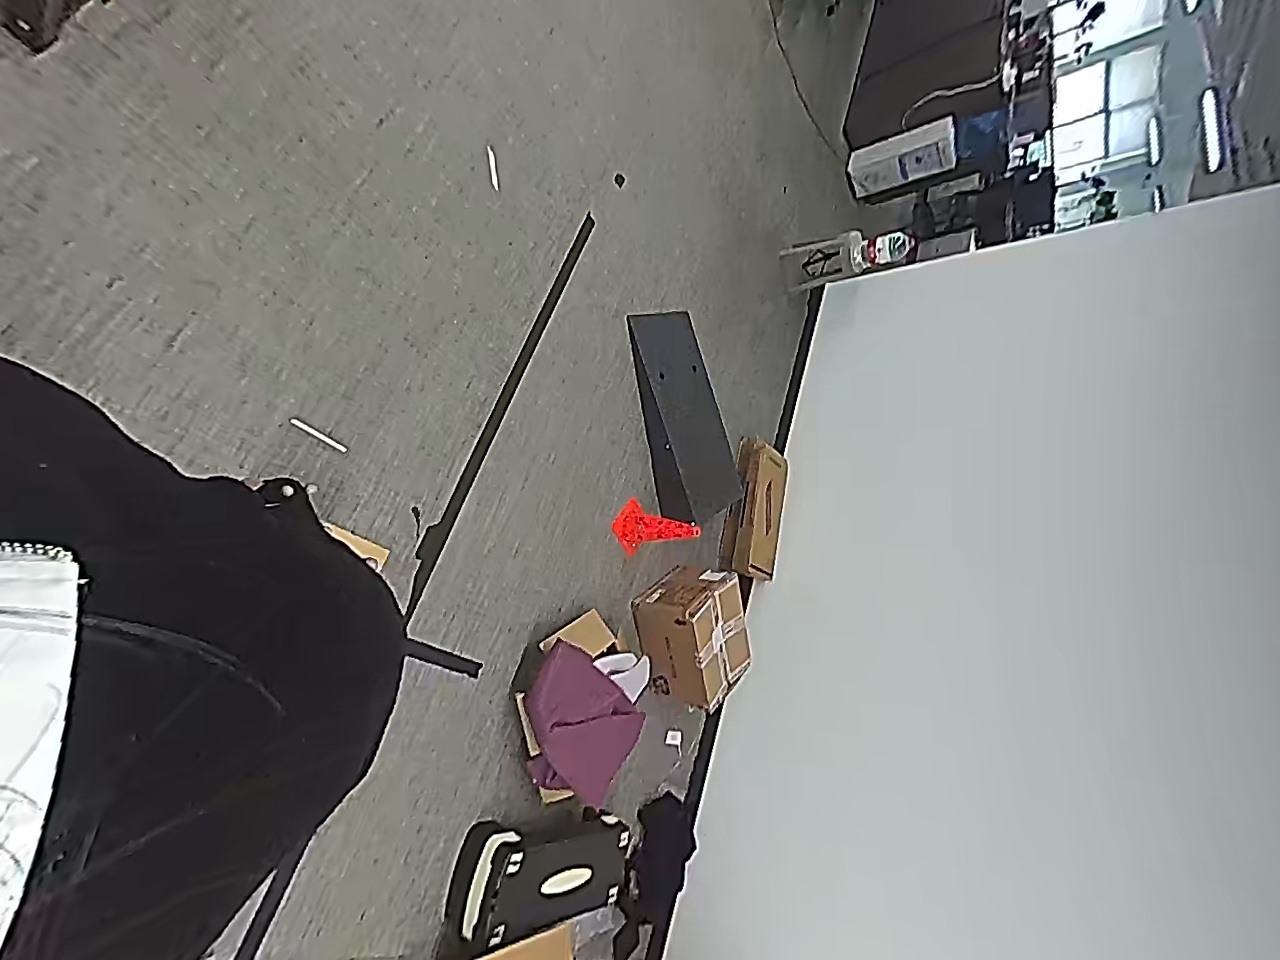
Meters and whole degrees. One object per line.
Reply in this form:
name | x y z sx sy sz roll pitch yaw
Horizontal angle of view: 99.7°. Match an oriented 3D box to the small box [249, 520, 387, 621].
small box | -0.709 0.194 1.194 0.179 0.176 0.168 42 59 -43
